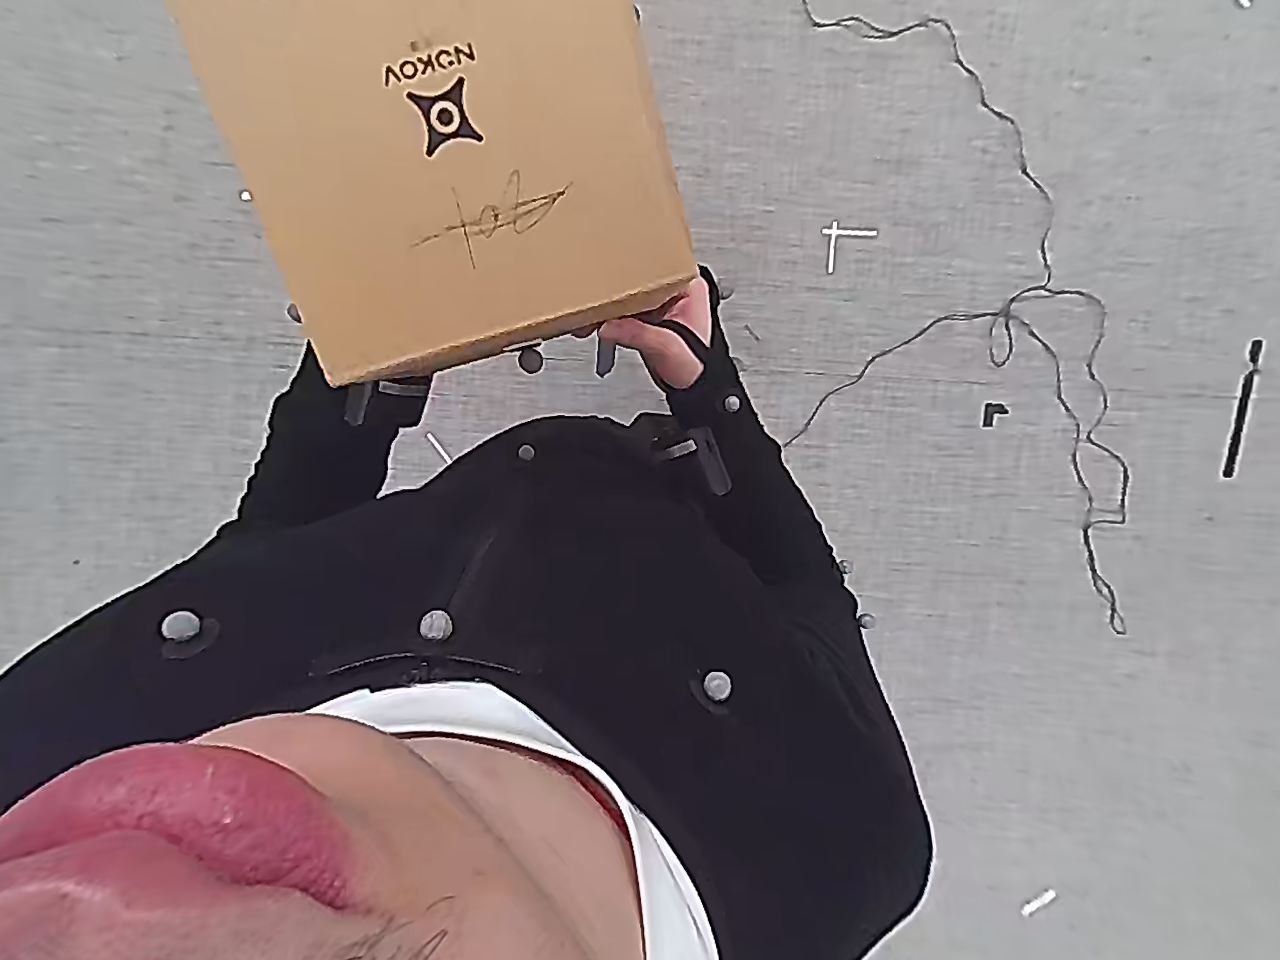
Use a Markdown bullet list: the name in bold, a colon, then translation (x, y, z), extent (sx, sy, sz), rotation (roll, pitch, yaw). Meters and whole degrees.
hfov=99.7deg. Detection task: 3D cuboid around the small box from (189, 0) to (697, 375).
- **small box**: translation (-0.081, -0.166, 0.299), extent (0.168, 0.176, 0.179), rotation (-18, 104, 1)
